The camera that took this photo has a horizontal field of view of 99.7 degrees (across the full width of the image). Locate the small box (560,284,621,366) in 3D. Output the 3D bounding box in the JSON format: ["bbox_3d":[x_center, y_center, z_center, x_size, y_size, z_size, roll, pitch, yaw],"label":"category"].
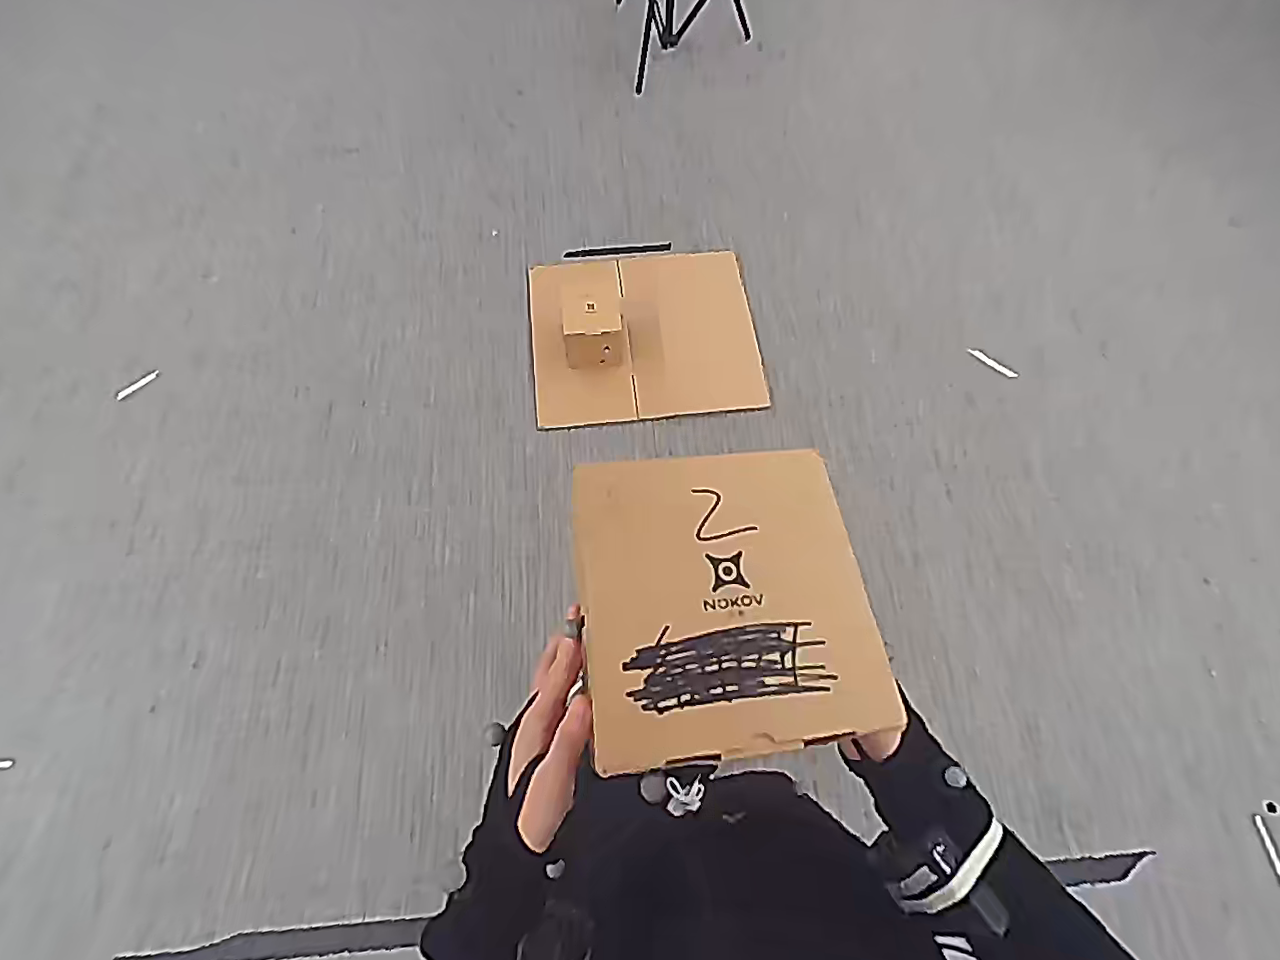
[{"bbox_3d":[-0.145,-0.454,1.610,0.168,0.176,0.179,-5,68,-4],"label":"small box"}]
